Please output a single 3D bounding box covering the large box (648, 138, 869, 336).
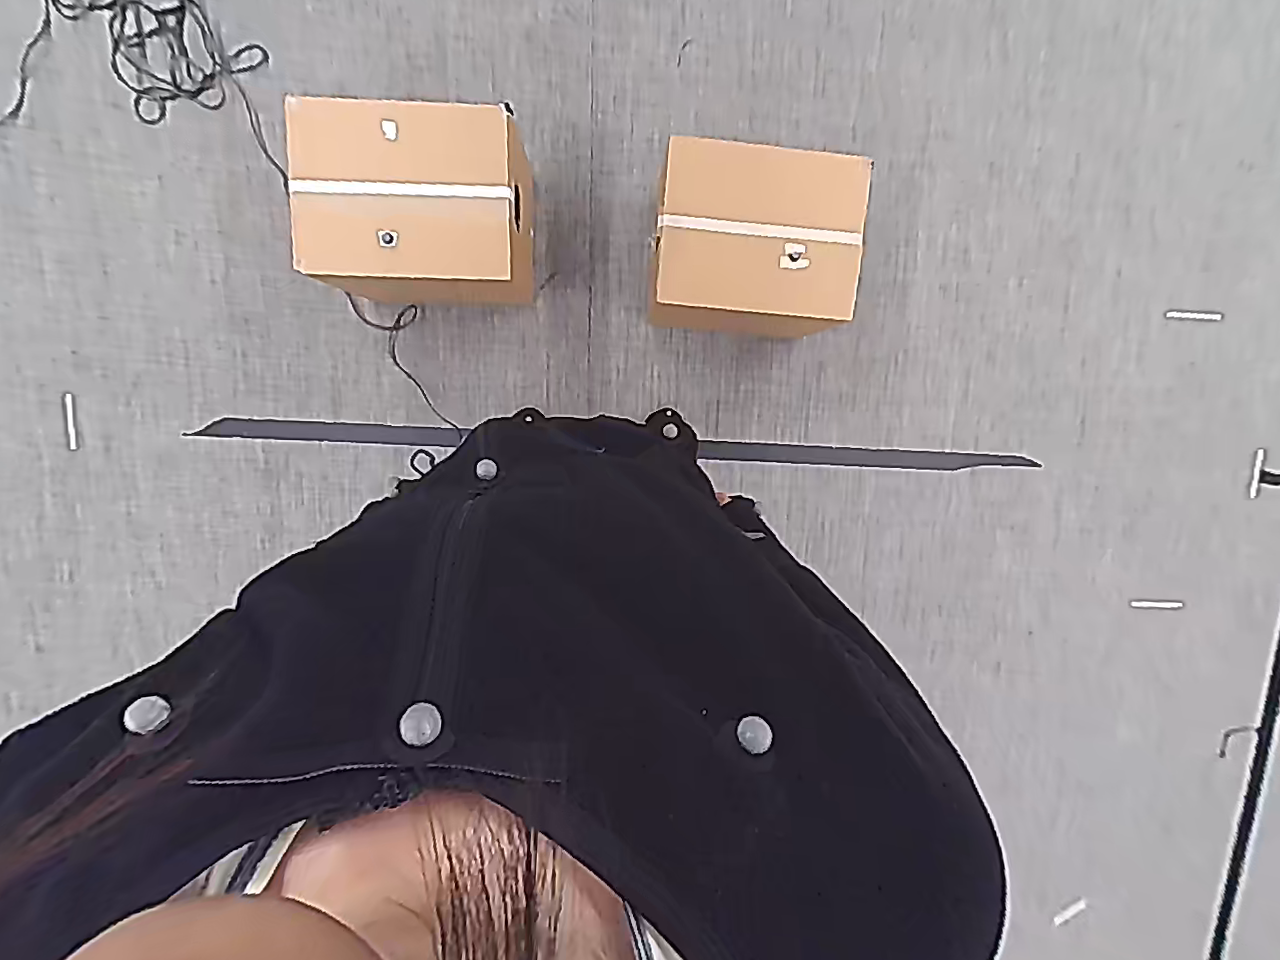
[{"bbox_3d":[0.235,-0.515,1.220,0.408,0.320,0.320,4,98,-5],"label":"large box"}]
